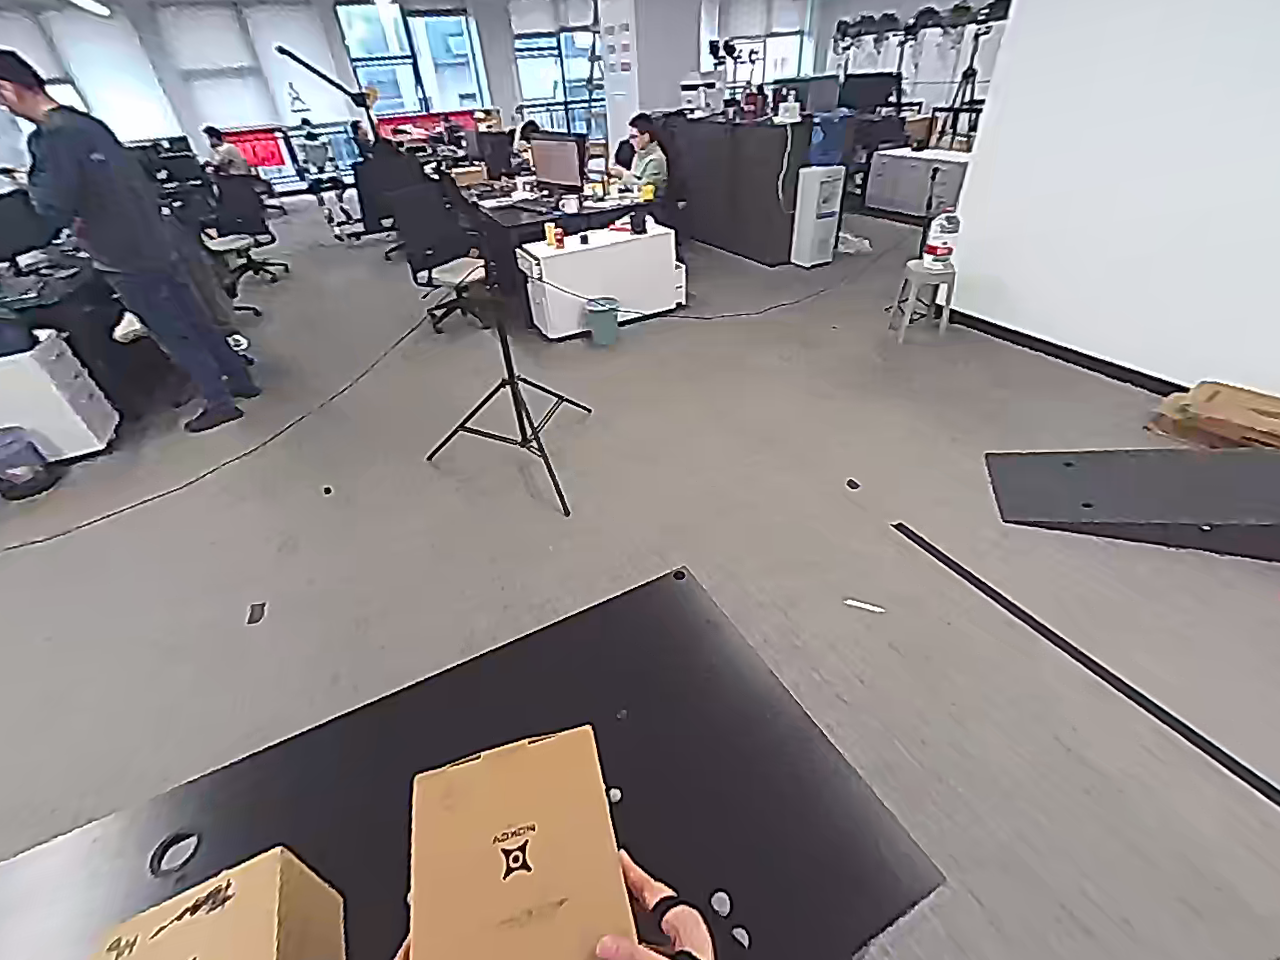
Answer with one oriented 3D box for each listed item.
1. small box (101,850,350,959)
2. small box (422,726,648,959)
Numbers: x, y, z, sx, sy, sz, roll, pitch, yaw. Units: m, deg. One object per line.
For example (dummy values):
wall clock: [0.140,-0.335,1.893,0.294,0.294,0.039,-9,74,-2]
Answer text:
small box: [-0.405,0.528,0.541,0.168,0.176,0.179,-19,40,-19]
small box: [-0.095,0.368,0.504,0.168,0.176,0.179,-12,44,-11]
